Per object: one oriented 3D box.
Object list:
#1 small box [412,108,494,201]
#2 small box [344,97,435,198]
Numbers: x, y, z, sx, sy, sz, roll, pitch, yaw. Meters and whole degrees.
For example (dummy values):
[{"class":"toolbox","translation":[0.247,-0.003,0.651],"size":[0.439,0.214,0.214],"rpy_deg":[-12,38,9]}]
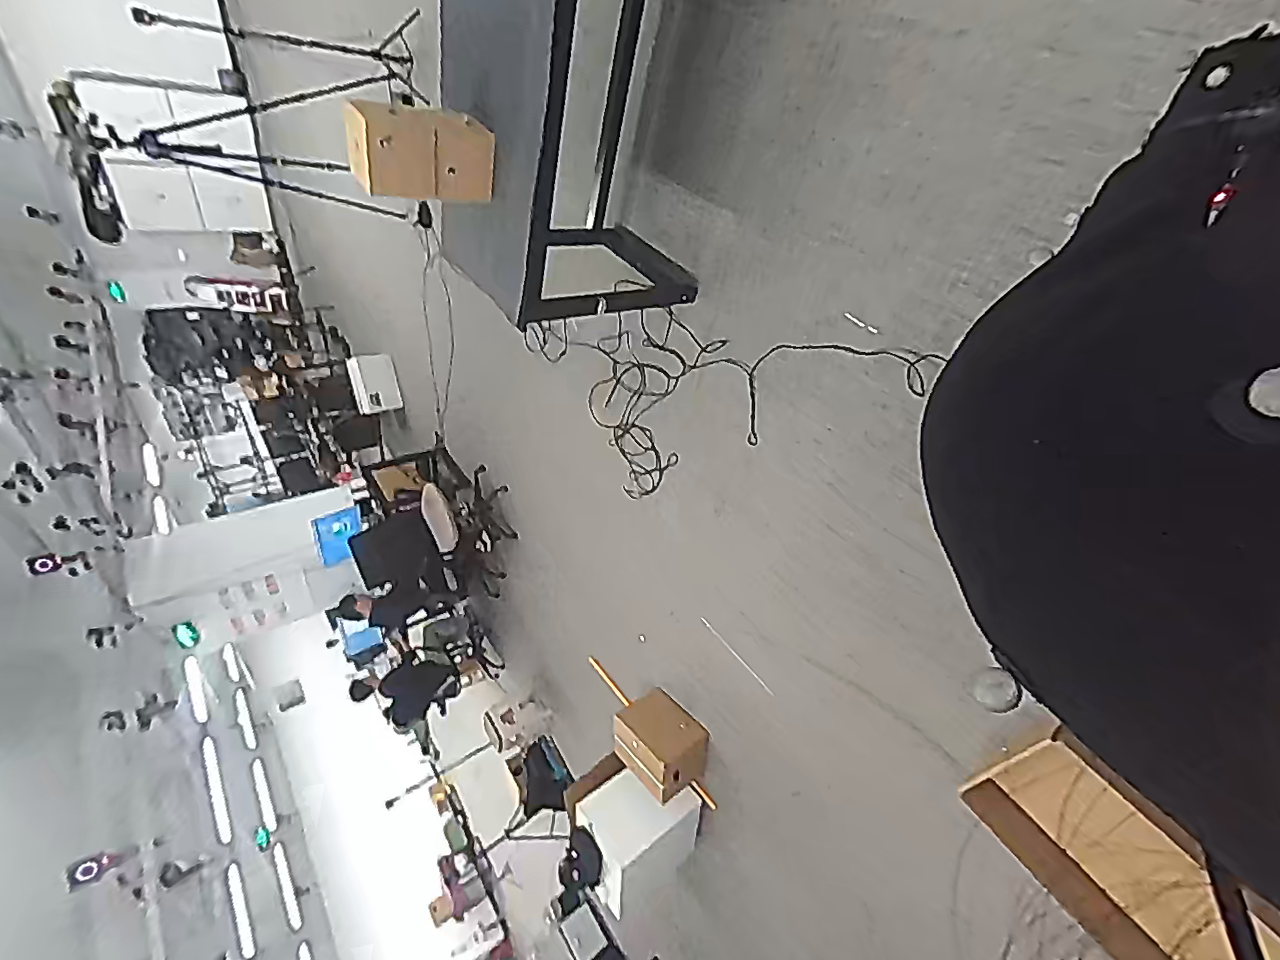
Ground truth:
[{"class":"small box","translation":[-0.518,-0.894,1.497],"size":[0.168,0.176,0.179],"rpy_deg":[49,138,28]},{"class":"small box","translation":[-0.641,-0.851,1.395],"size":[0.168,0.176,0.179],"rpy_deg":[48,138,29]}]
